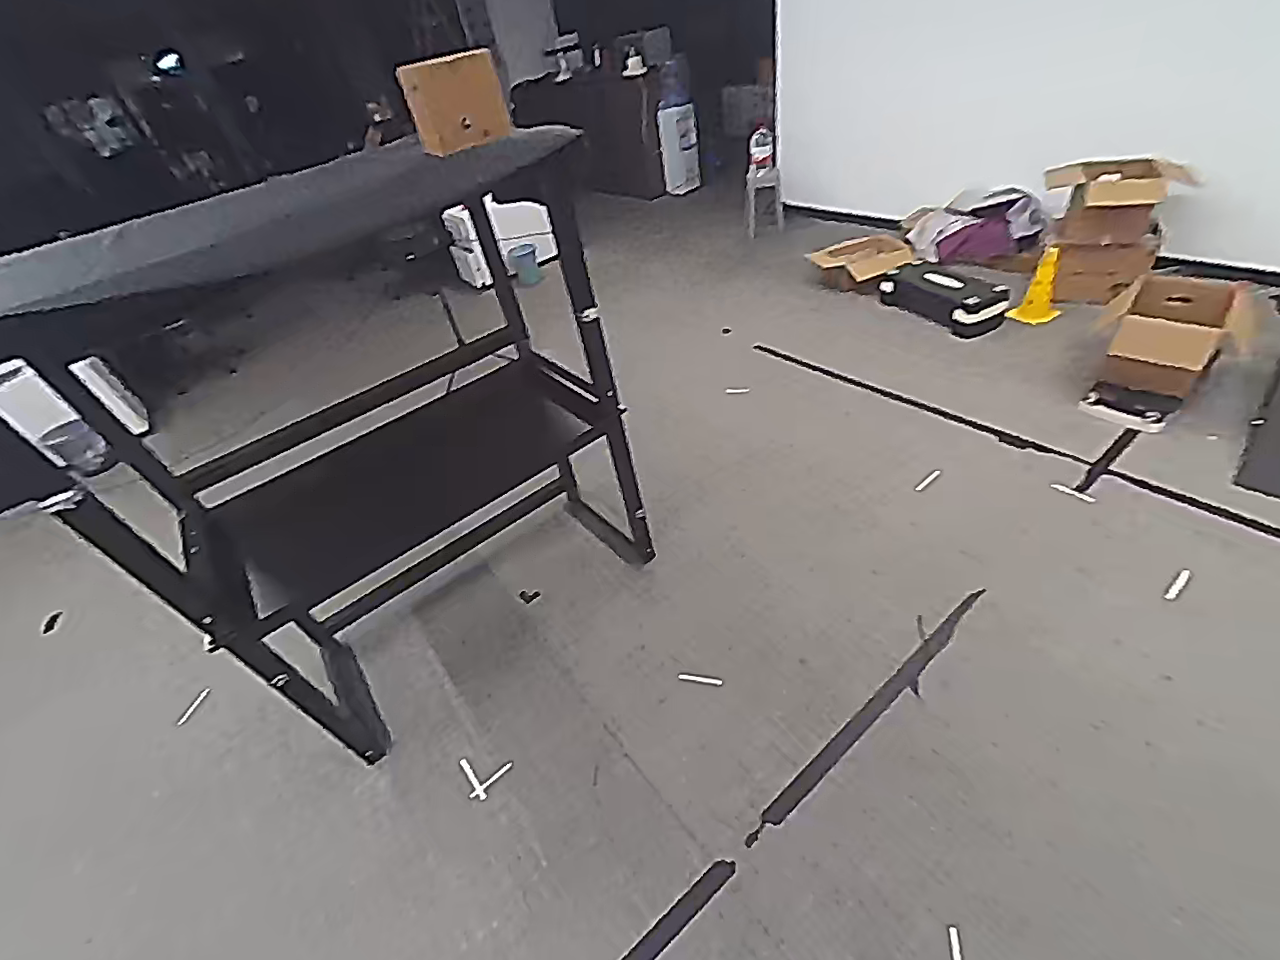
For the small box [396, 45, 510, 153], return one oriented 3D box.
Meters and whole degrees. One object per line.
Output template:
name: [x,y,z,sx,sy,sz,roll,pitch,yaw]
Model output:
small box: [-0.416,-0.853,1.216,0.168,0.176,0.179,-30,44,-18]
